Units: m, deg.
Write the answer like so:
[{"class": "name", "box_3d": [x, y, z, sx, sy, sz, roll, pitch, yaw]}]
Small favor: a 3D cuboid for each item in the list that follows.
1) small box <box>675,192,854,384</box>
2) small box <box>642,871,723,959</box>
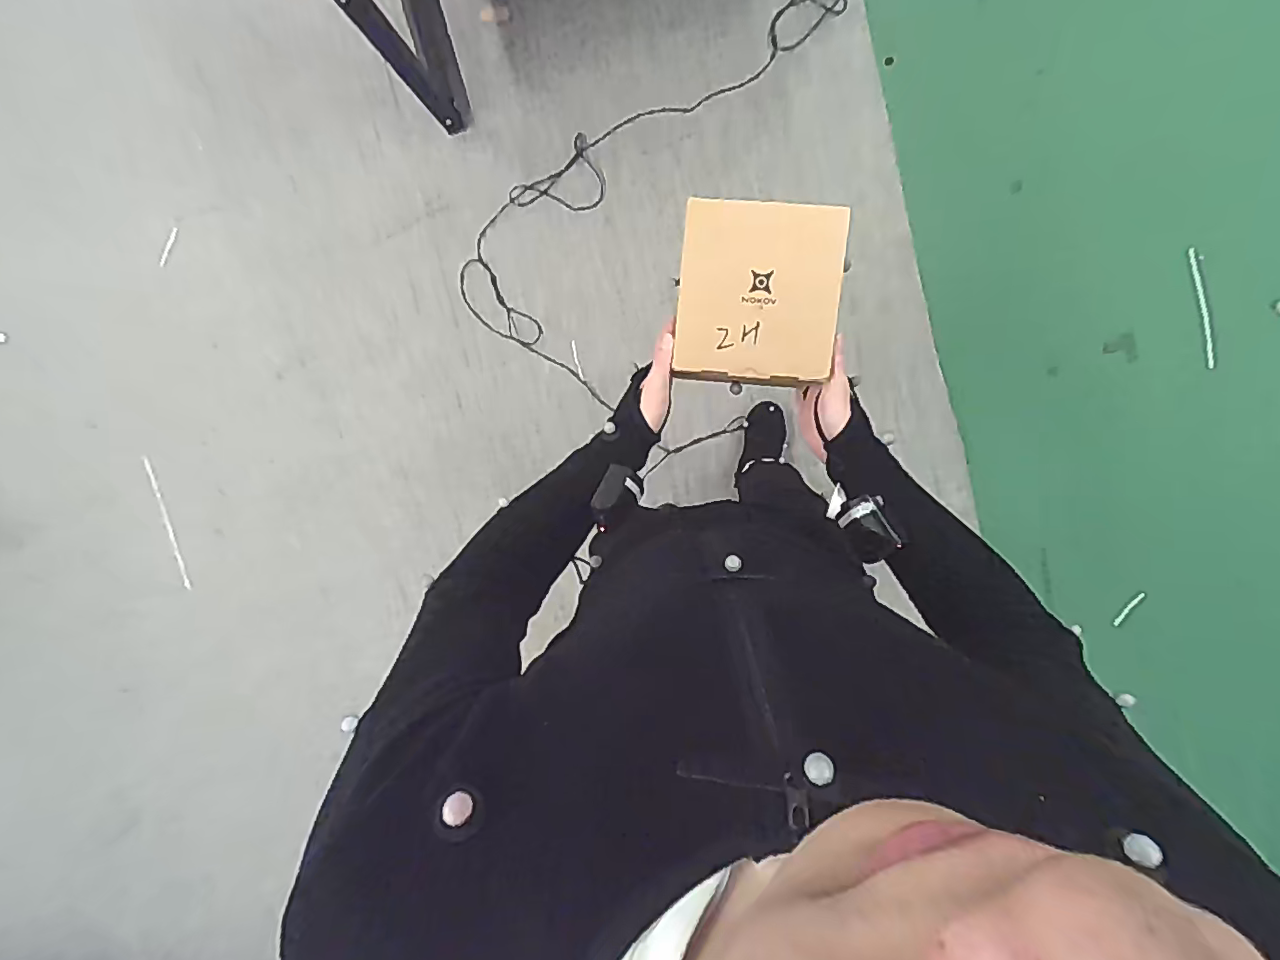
[{"class": "small box", "box_3d": [0.131, -0.210, 0.636, 0.168, 0.176, 0.179, 6, 99, 3]}, {"class": "small box", "box_3d": [0.104, 1.055, 1.254, 0.168, 0.176, 0.179, -7, 95, 7]}]
